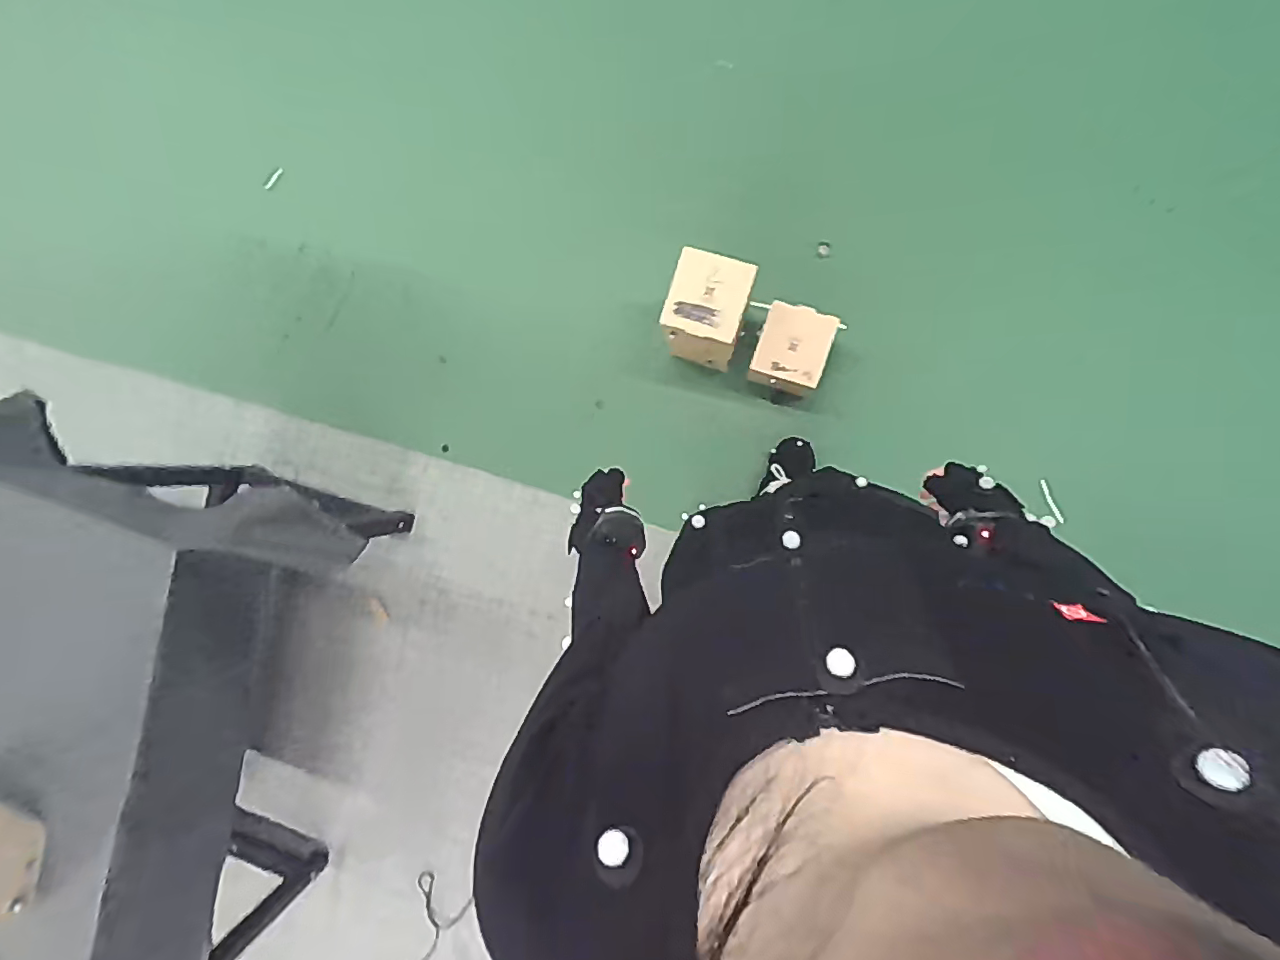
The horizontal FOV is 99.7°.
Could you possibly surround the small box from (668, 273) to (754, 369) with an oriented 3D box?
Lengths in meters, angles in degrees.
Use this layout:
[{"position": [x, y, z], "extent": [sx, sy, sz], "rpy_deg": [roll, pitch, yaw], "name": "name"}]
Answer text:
[{"position": [0.188, -0.402, 1.398], "extent": [0.168, 0.176, 0.179], "rpy_deg": [21, 95, 8], "name": "small box"}]
